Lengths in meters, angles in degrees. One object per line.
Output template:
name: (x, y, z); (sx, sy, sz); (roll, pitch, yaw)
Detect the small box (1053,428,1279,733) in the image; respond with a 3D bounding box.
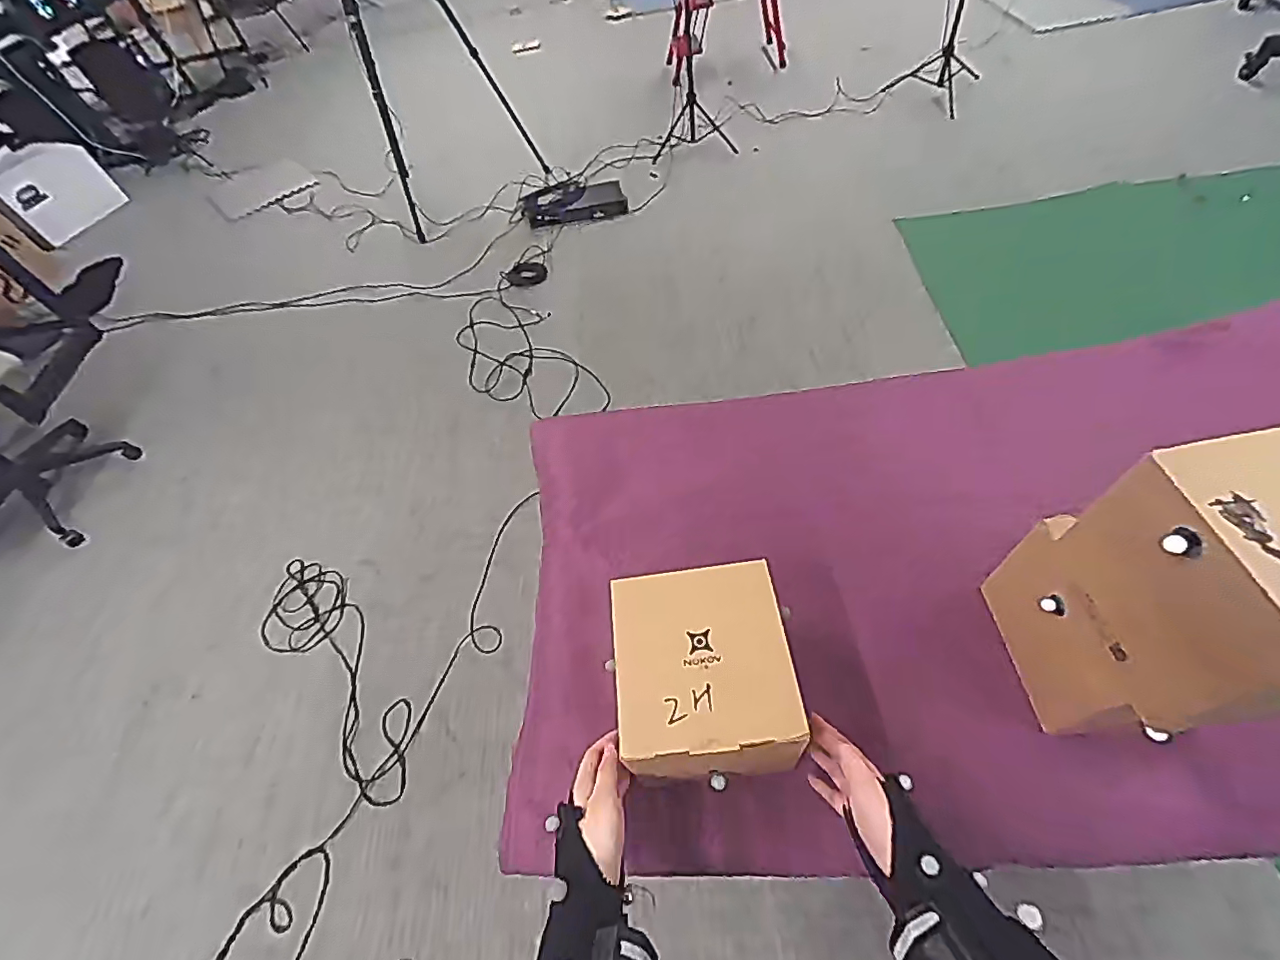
small box: (0.466, 0.075, 0.396); (0.179, 0.176, 0.168); (-9, 54, 3)

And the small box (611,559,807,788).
small box: (0.064, 0.207, 0.569); (0.168, 0.176, 0.179); (-8, 52, 4)

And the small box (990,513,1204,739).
small box: (0.495, 0.146, 0.544); (0.168, 0.176, 0.179); (-7, 54, 5)
